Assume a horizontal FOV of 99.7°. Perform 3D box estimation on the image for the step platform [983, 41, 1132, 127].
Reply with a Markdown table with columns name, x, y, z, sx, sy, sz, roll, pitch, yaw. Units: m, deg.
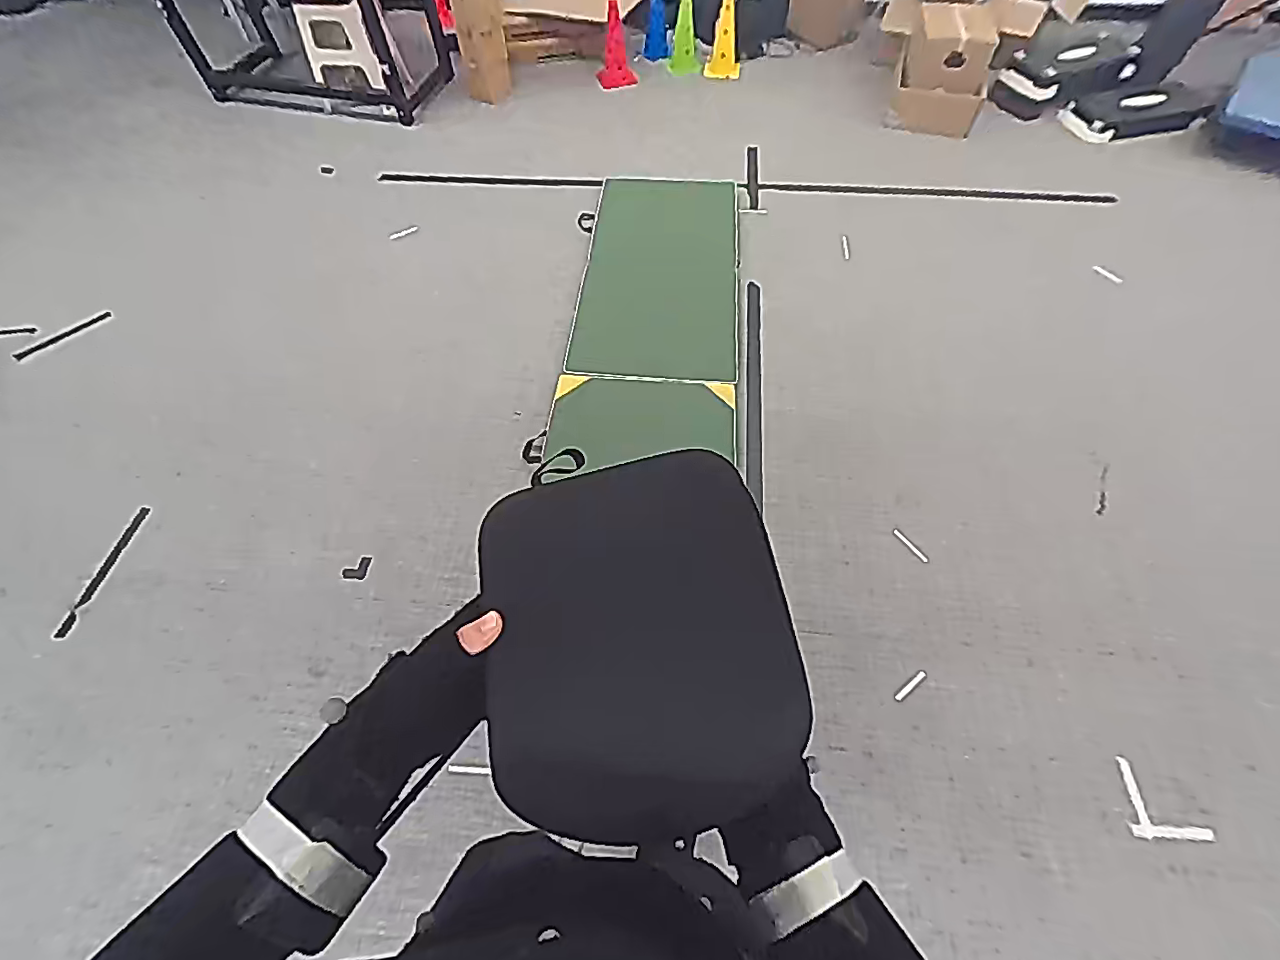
| name | x | y | z | sx | sy | sz | roll | pitch | yaw |
| --- | --- | --- | --- | --- | --- | --- | --- | --- | --- |
| step platform | 2.170 | -2.064 | 2.811 | 0.684 | 0.204 | 0.286 | -21 | 61 | -11 |
